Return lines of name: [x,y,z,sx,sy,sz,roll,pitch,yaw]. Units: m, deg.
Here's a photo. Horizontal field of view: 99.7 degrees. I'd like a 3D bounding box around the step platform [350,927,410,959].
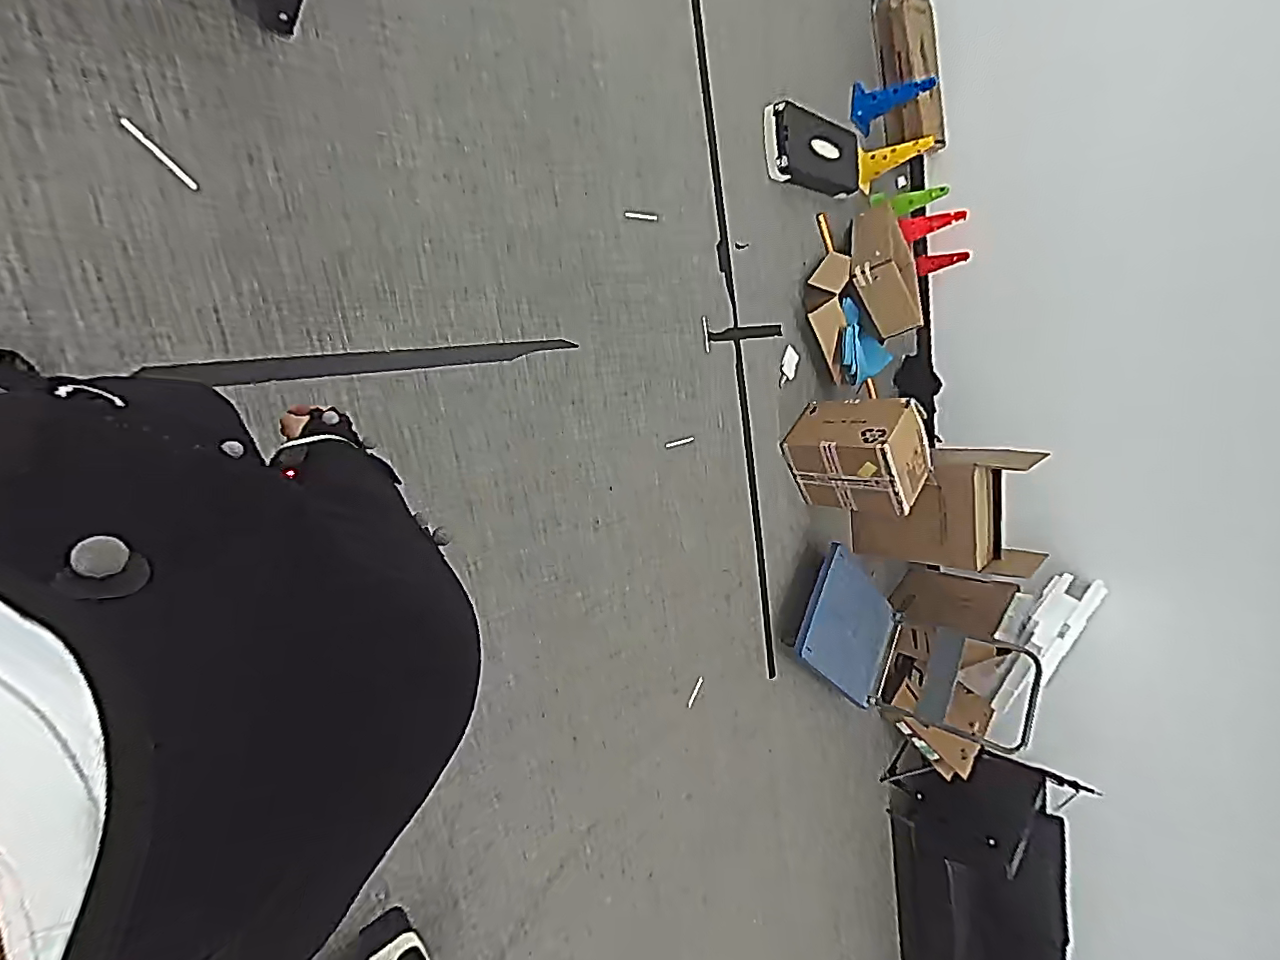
step platform: [-0.801,1.352,1.141,0.684,0.204,0.286,-19,106,-42]
